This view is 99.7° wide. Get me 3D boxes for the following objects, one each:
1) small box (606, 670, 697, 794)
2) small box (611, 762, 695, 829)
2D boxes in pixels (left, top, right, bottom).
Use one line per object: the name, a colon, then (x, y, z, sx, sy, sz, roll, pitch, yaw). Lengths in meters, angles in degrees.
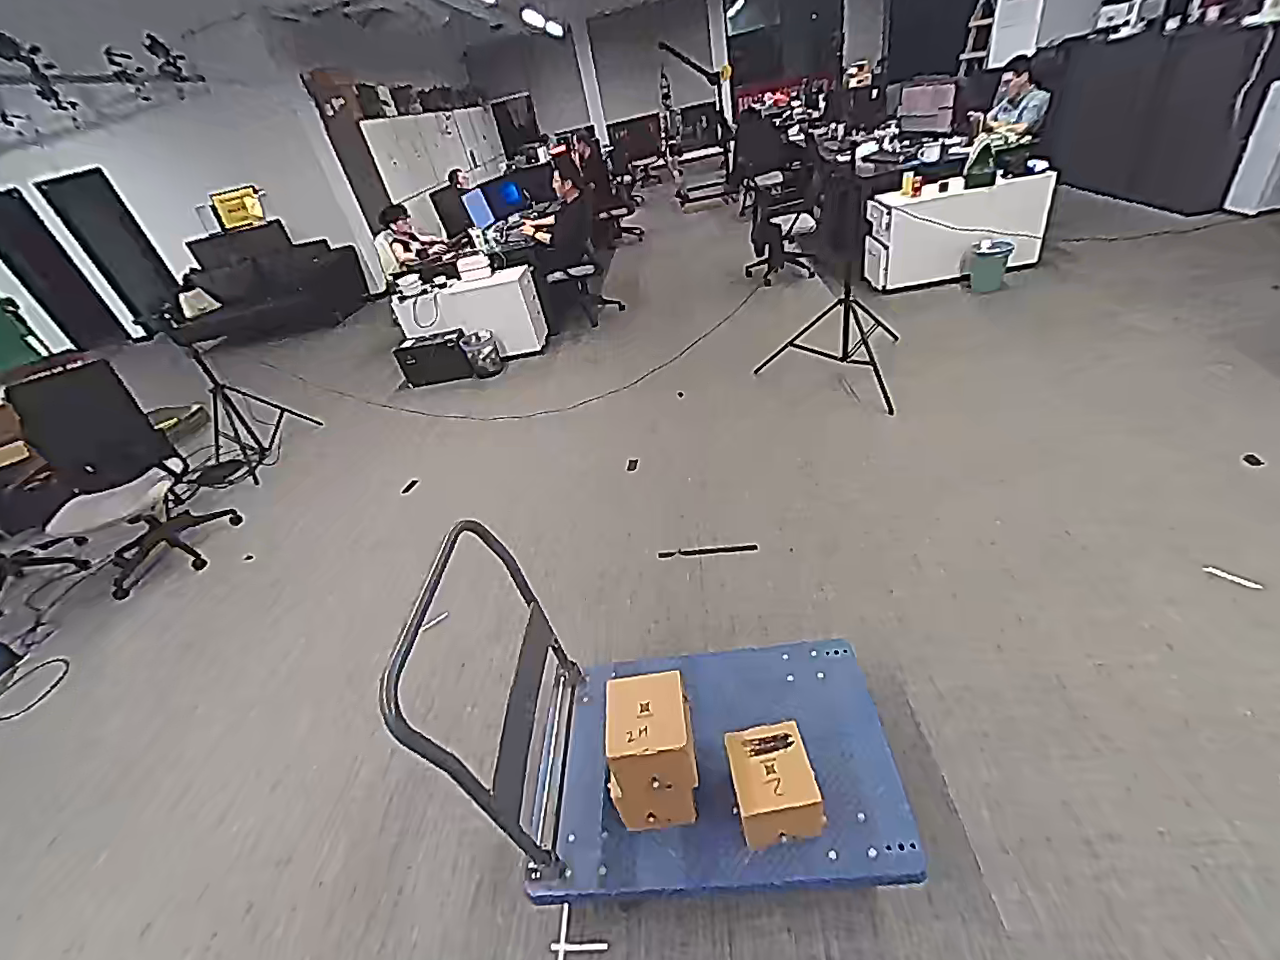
small box: (0.025, 0.542, 1.164, 0.168, 0.176, 0.179, -10, 36, 5)
small box: (0.030, 0.677, 1.262, 0.168, 0.176, 0.179, -10, 36, 4)
